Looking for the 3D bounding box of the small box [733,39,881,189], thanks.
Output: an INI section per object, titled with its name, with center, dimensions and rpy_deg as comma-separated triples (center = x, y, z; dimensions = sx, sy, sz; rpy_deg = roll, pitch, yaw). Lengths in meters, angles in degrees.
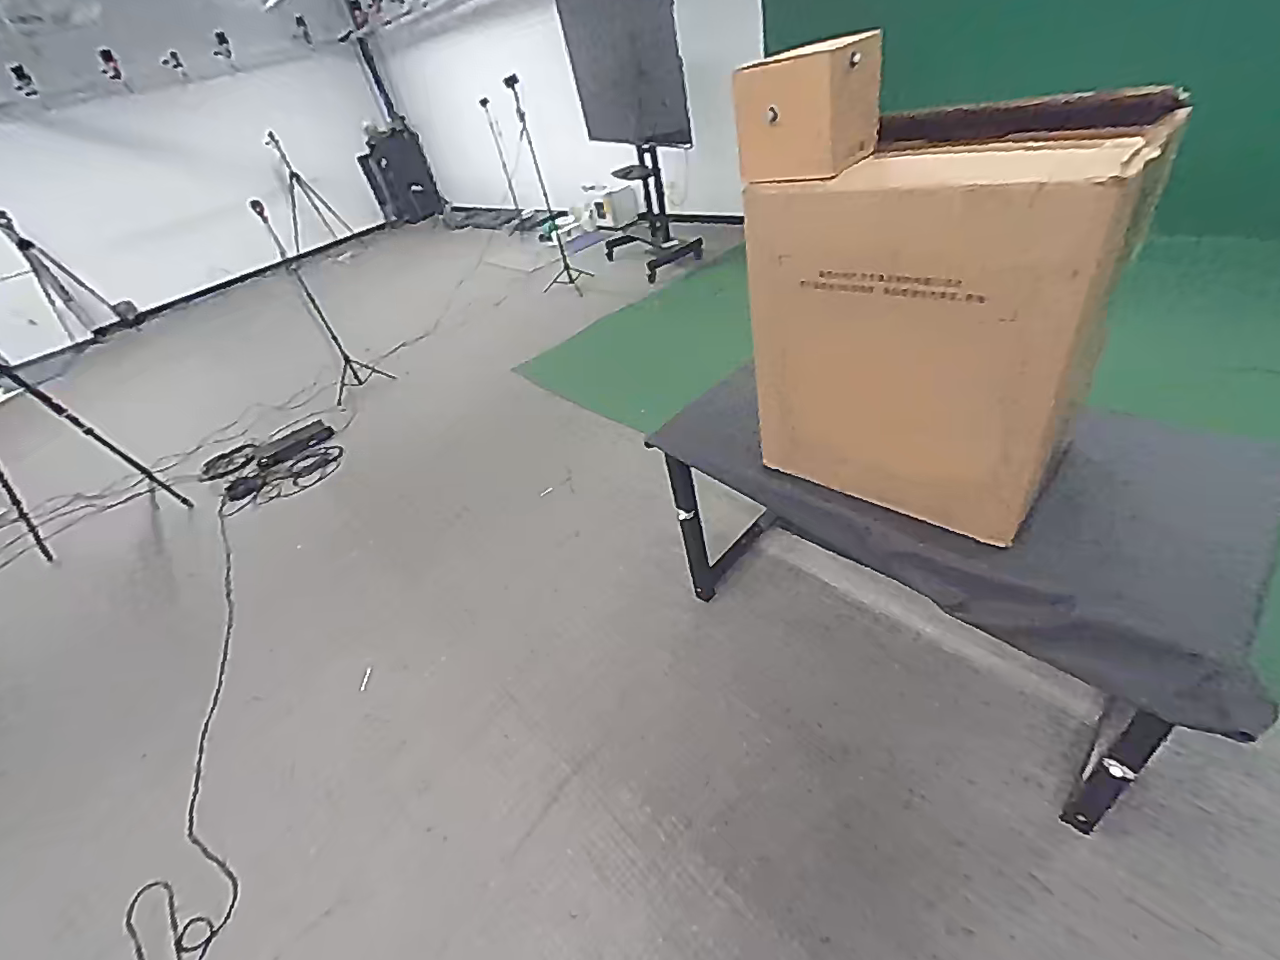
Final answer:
[small box]
center = 0.283, -0.605, 0.910
dimensions = 0.179, 0.176, 0.168
rpy_deg = 21, 52, 40
